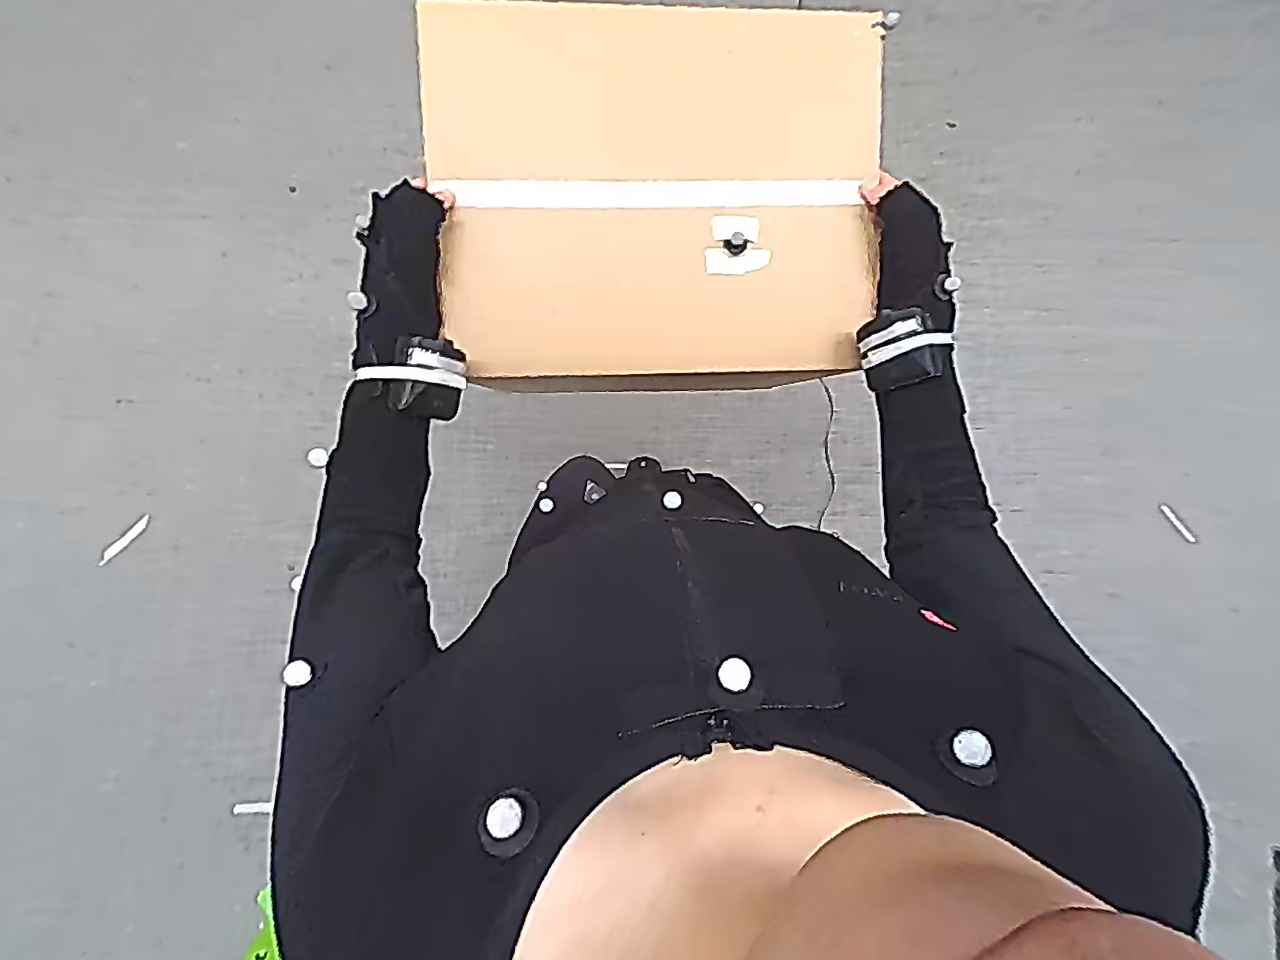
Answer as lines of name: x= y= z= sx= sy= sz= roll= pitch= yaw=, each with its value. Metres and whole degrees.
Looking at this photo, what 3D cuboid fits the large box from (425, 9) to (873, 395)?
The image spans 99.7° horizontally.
large box: x=0.005 y=-0.273 z=0.638 sx=0.408 sy=0.320 sz=0.320 roll=-2 pitch=96 yaw=-5
